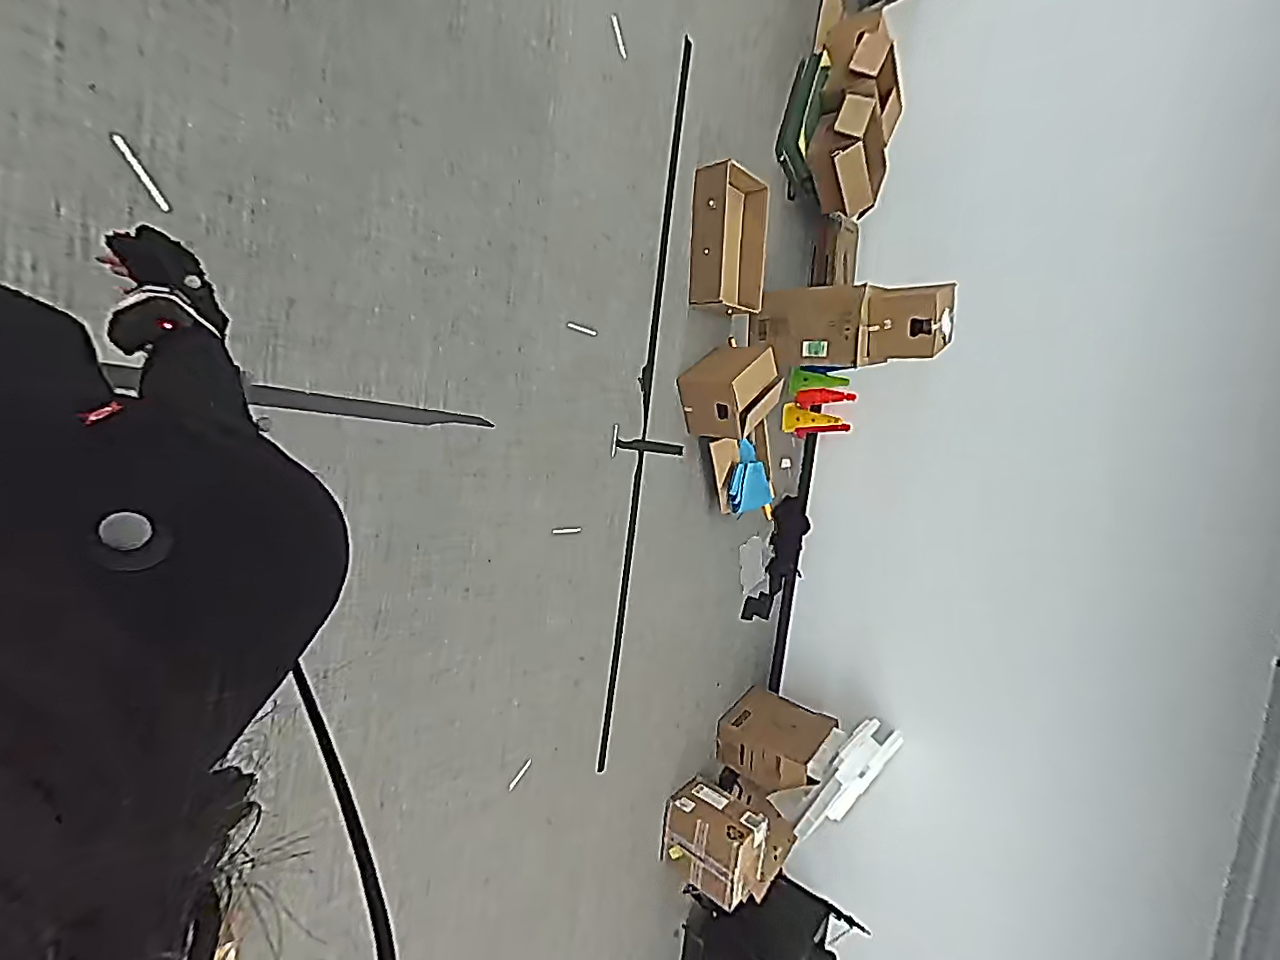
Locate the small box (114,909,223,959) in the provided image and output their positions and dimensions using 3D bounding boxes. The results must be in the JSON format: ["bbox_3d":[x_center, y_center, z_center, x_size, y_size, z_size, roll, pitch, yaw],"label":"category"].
[{"bbox_3d":[-1.112,1.175,1.265,0.179,0.176,0.168,1,98,-52],"label":"small box"}]
